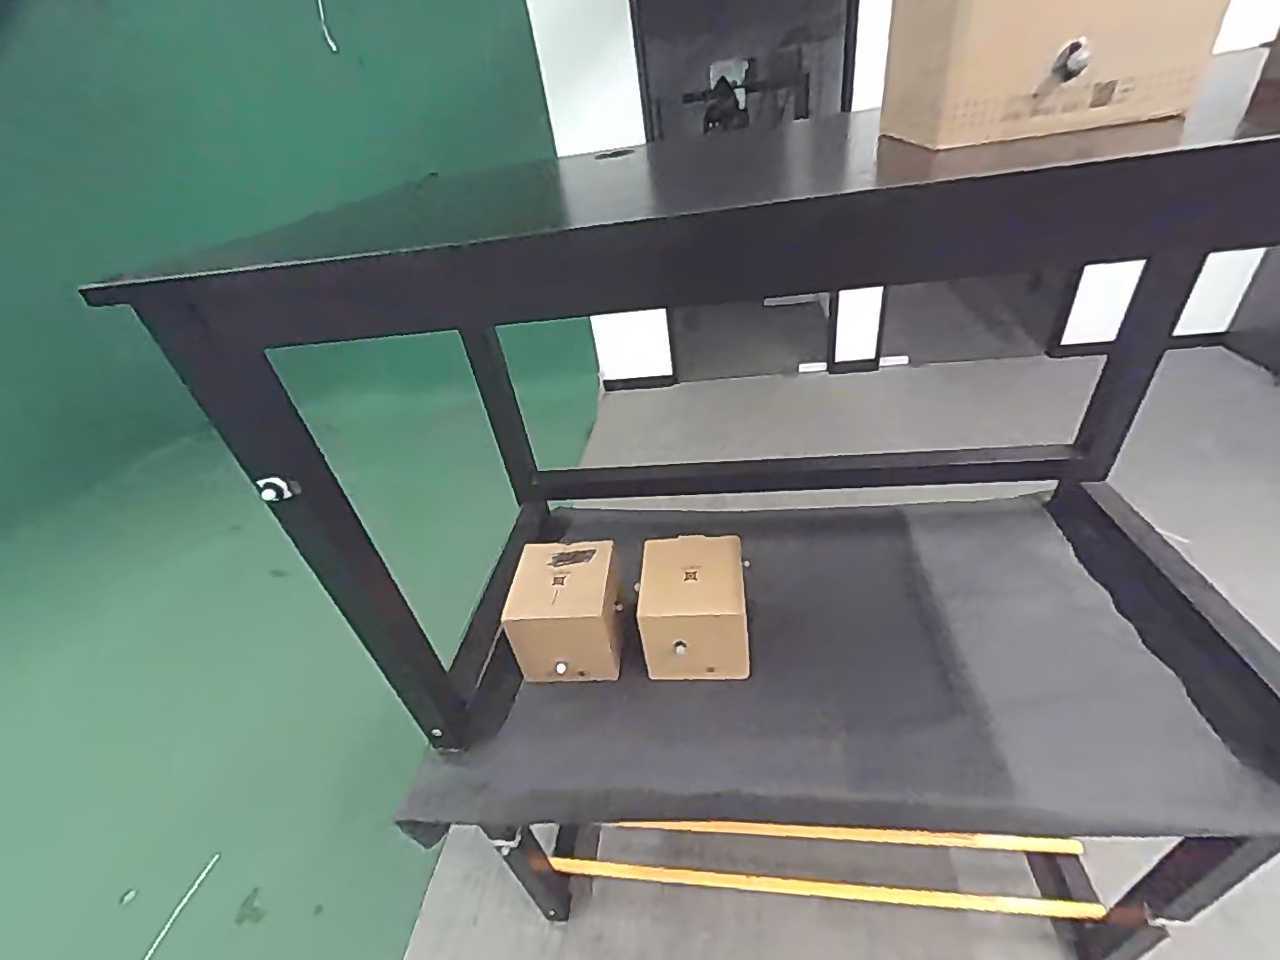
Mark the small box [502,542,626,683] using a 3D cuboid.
[{"bbox_3d":[-0.121,0.231,0.950,0.168,0.176,0.179,-4,36,8],"label":"small box"}]
